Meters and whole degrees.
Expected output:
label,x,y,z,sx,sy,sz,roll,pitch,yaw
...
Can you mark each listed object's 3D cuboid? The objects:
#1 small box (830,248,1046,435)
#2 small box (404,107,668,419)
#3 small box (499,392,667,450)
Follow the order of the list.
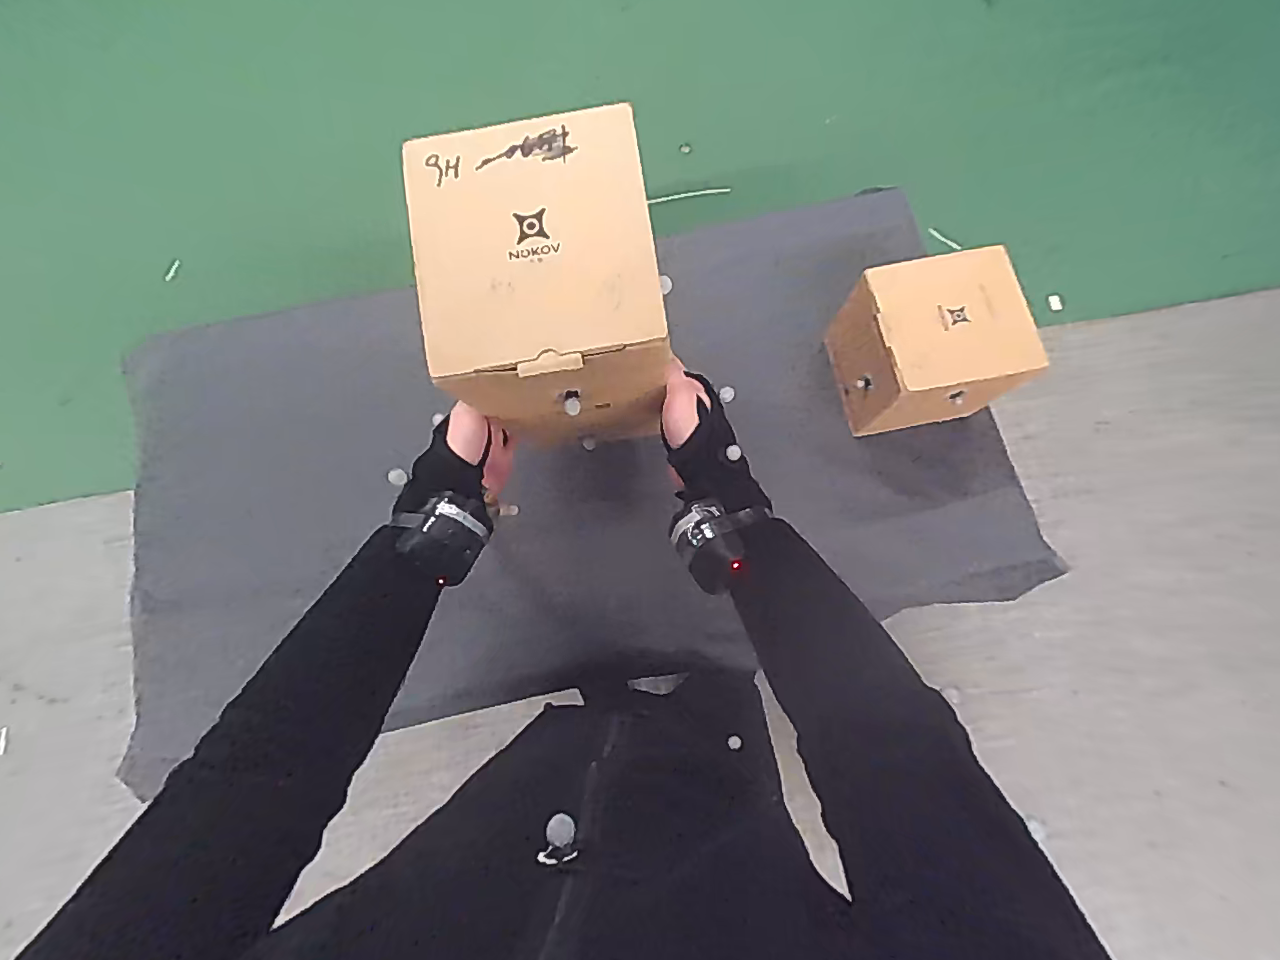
label,x,y,z,sx,sy,sz,roll,pitch,yaw
small box,0.369,-0.171,0.714,0.179,0.176,0.168,-11,77,-2
small box,-0.068,-0.154,0.447,0.168,0.176,0.179,-9,85,2
small box,-0.061,-0.139,0.610,0.168,0.176,0.179,-7,85,2
